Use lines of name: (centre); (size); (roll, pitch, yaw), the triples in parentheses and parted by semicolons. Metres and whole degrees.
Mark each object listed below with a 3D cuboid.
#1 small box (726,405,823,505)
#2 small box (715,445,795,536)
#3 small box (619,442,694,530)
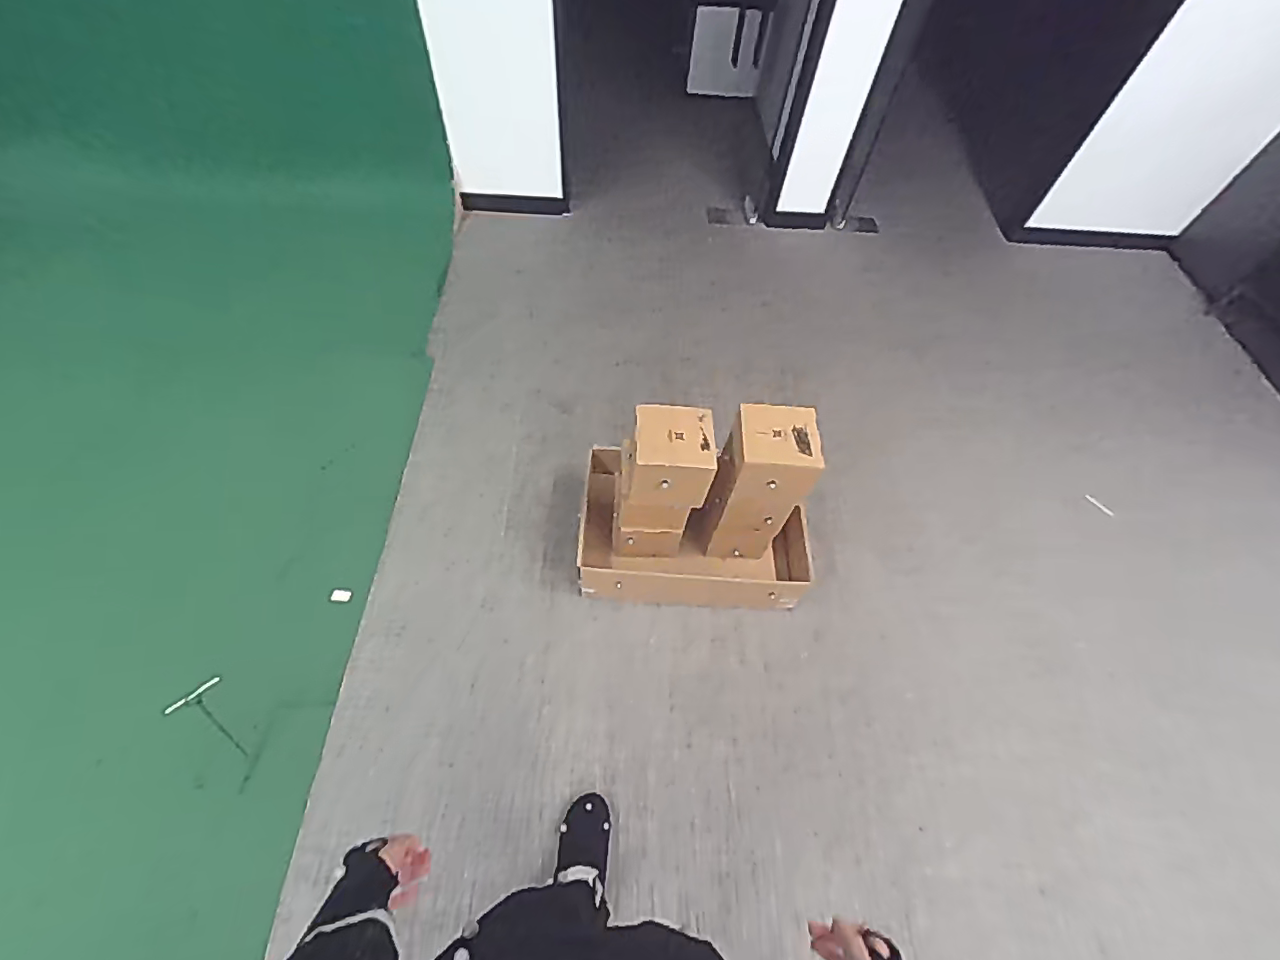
small box: (0.305, -0.053, 1.260); (0.179, 0.176, 0.168); (4, 58, -1)
small box: (0.290, 0.031, 1.400); (0.168, 0.176, 0.179); (4, 57, -2)
small box: (0.037, 0.019, 1.389); (0.179, 0.176, 0.168); (3, 58, -5)
